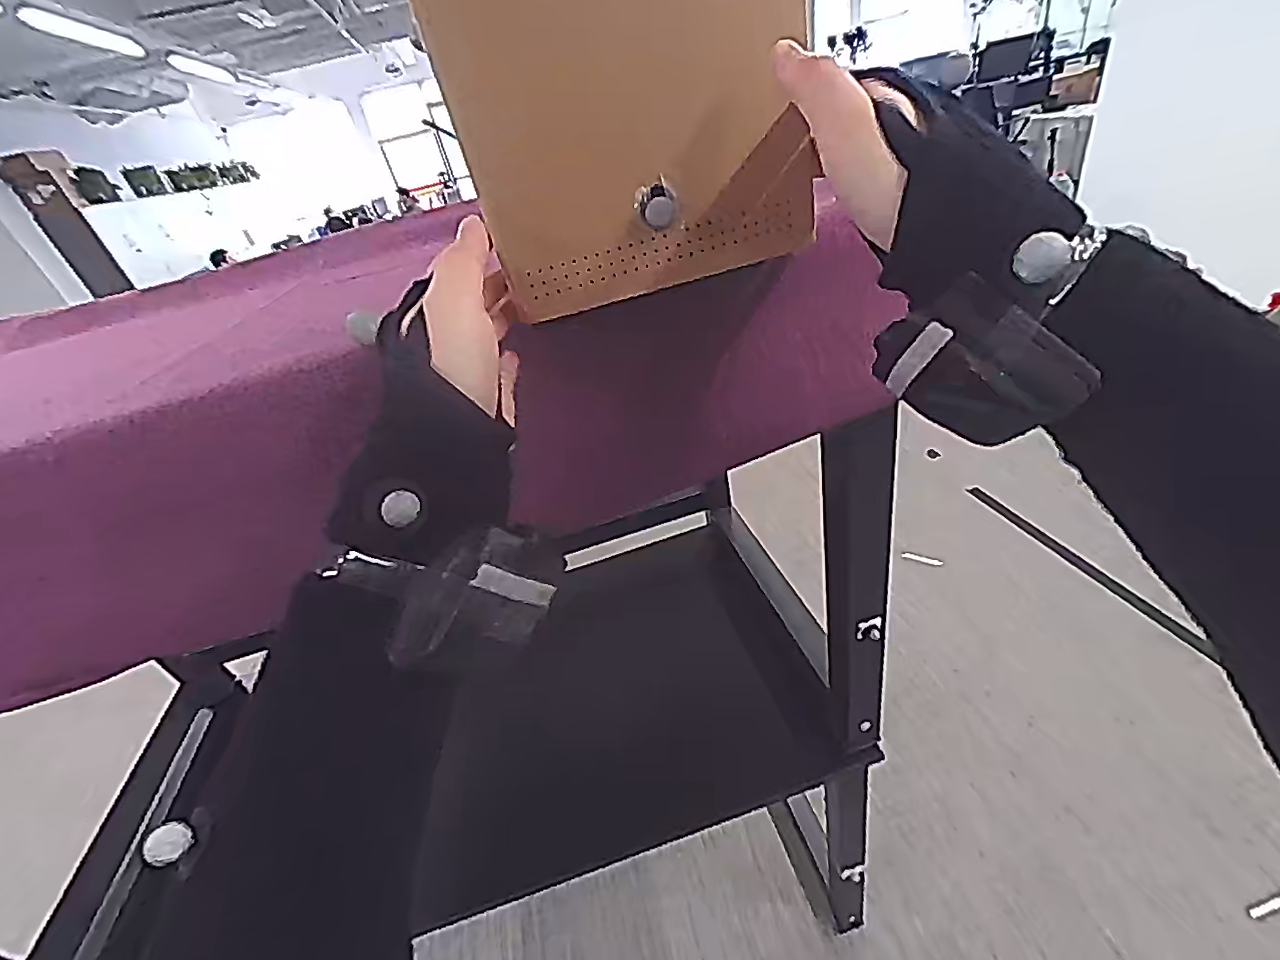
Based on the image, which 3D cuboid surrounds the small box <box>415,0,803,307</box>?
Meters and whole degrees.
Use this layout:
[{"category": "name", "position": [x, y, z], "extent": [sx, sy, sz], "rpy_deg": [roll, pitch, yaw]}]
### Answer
[{"category": "small box", "position": [-0.014, -0.223, 0.323], "extent": [0.179, 0.176, 0.168], "rpy_deg": [-16, 32, -2]}]
